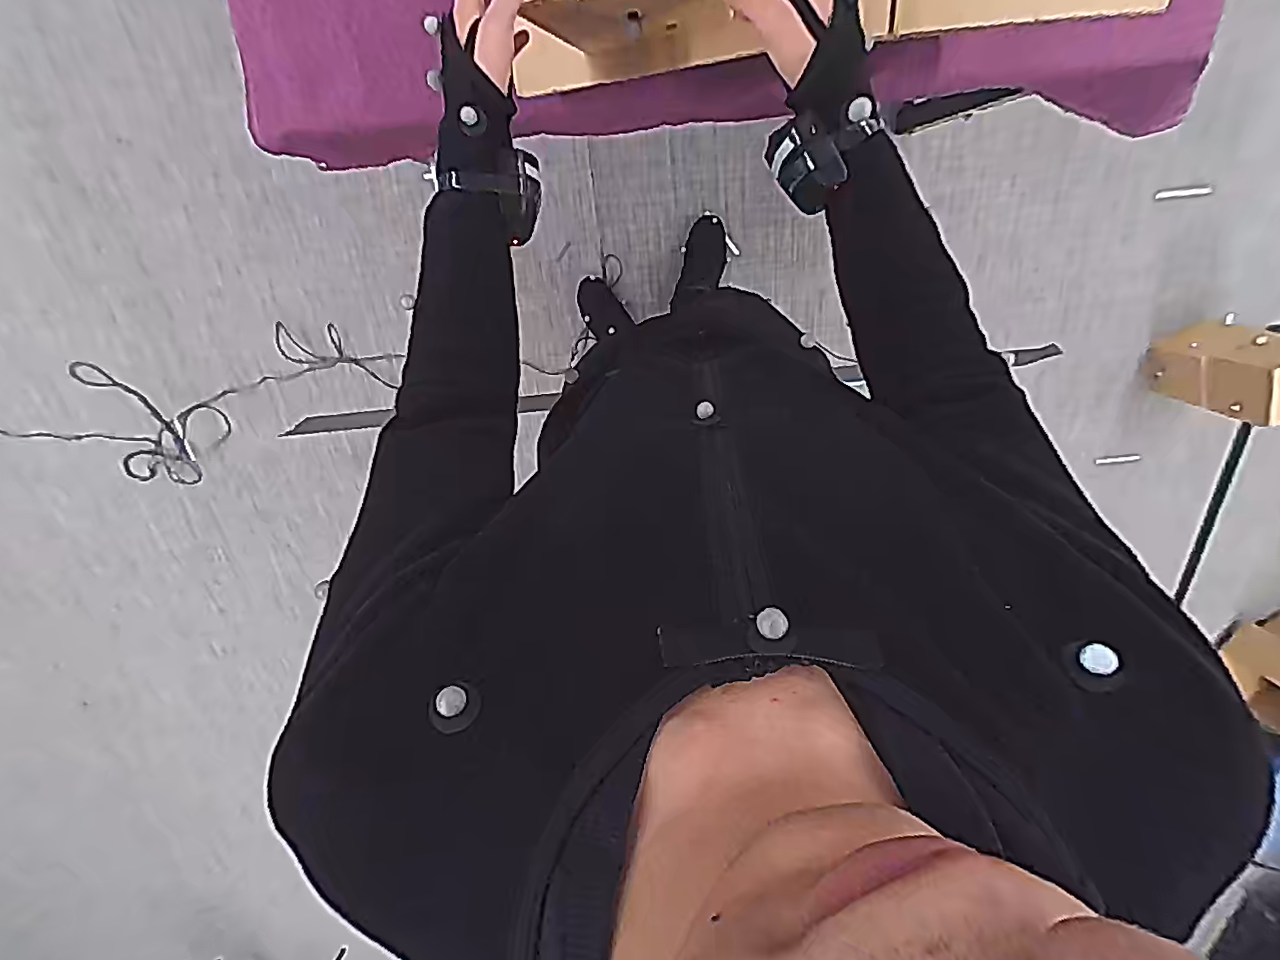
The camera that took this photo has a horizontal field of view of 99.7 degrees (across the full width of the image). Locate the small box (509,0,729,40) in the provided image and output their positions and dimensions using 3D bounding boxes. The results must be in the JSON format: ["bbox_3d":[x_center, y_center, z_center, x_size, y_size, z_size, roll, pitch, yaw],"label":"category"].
[{"bbox_3d":[-0.017,-0.503,0.456,0.168,0.176,0.179,2,118,18],"label":"small box"}]
